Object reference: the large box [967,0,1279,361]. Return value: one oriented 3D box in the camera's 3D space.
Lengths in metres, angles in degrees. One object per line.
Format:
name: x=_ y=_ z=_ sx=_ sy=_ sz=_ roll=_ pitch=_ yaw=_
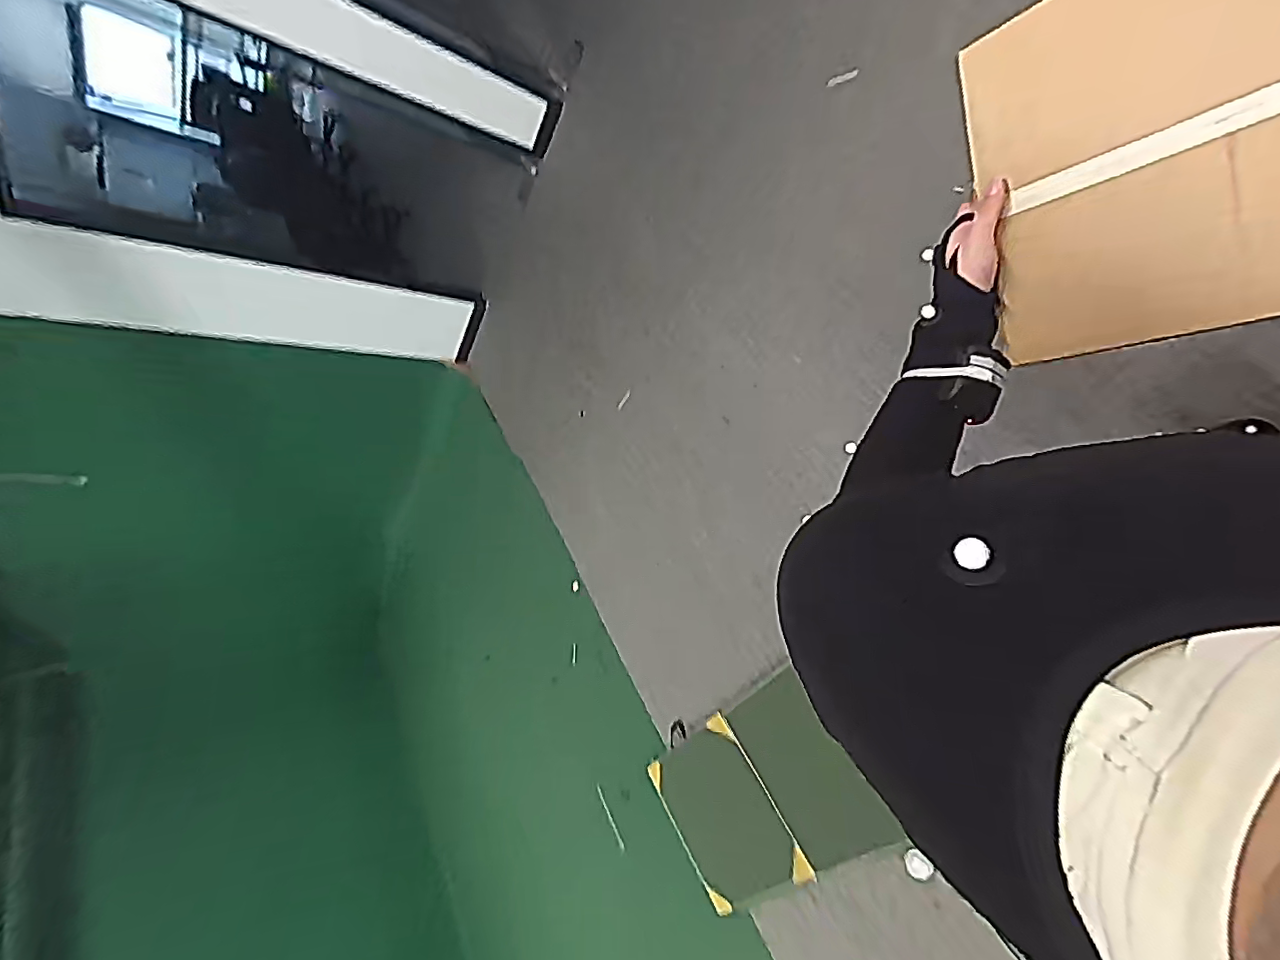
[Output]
large box: x=0.593 y=-0.319 z=0.496 sx=0.408 sy=0.320 sz=0.320 roll=-8 pitch=97 yaw=49
